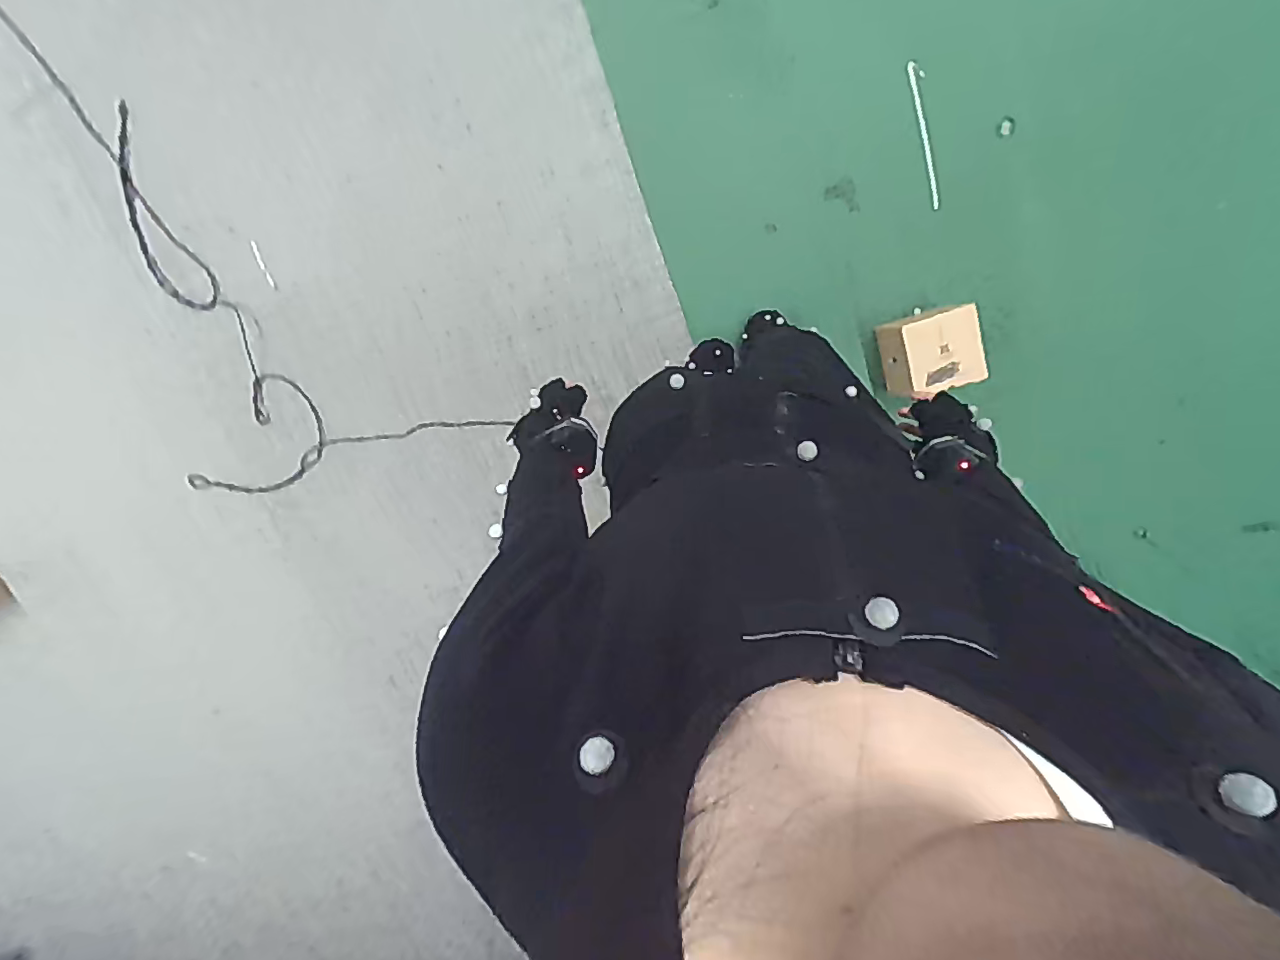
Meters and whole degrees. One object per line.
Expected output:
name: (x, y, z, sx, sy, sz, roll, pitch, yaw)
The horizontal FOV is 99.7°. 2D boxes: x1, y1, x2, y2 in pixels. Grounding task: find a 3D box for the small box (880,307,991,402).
small box: (0.698, -0.302, 1.291, 0.168, 0.176, 0.179, -16, 103, 8)
